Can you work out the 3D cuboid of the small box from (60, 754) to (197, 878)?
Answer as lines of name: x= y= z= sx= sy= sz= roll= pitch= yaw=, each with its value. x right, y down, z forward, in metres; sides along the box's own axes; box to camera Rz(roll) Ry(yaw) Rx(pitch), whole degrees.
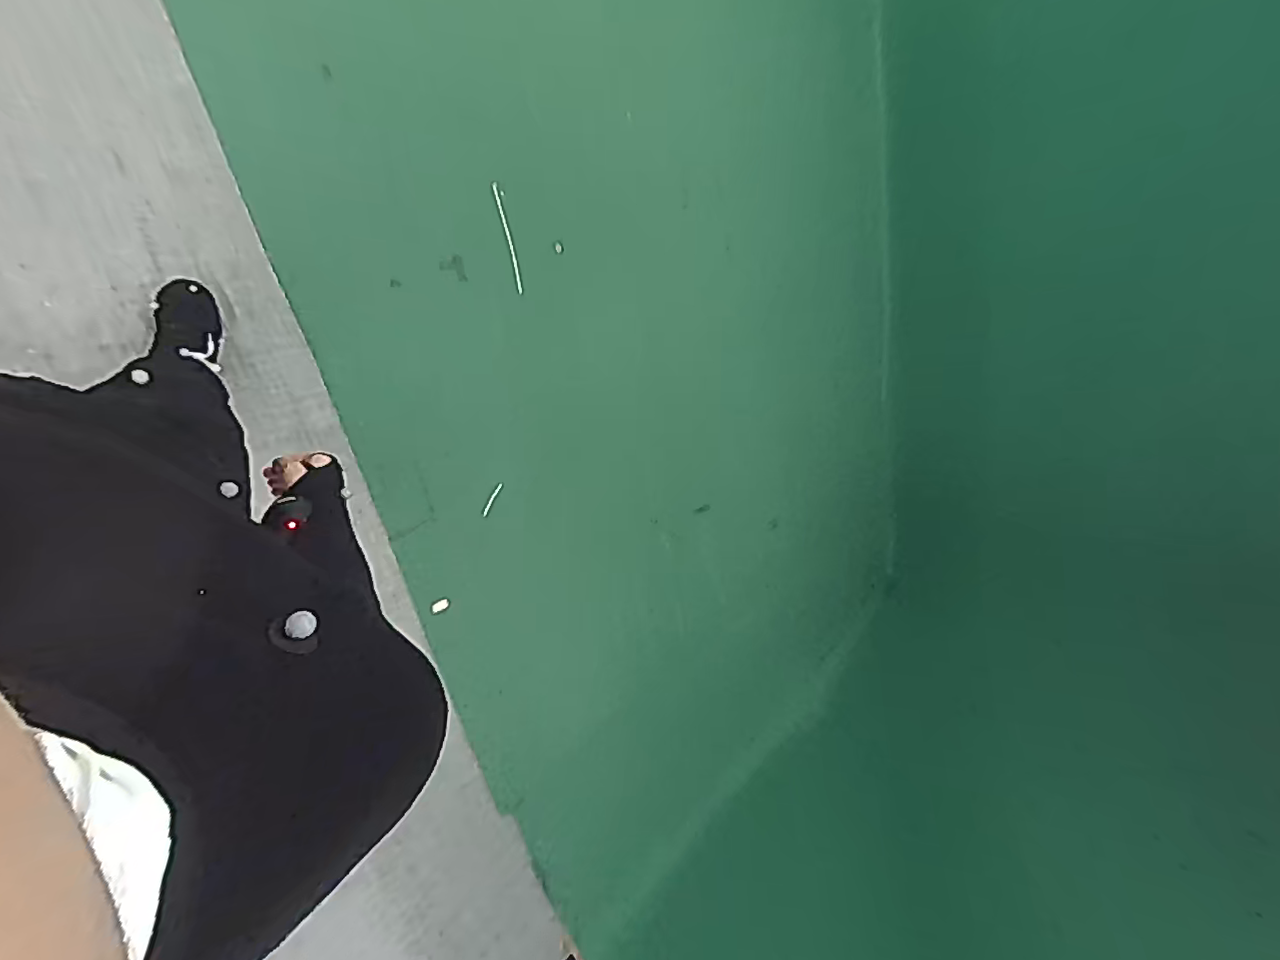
small box: x=-1.154 y=0.772 z=1.230 sx=0.179 sy=0.176 sz=0.168 roll=-27 pitch=116 yaw=-34
